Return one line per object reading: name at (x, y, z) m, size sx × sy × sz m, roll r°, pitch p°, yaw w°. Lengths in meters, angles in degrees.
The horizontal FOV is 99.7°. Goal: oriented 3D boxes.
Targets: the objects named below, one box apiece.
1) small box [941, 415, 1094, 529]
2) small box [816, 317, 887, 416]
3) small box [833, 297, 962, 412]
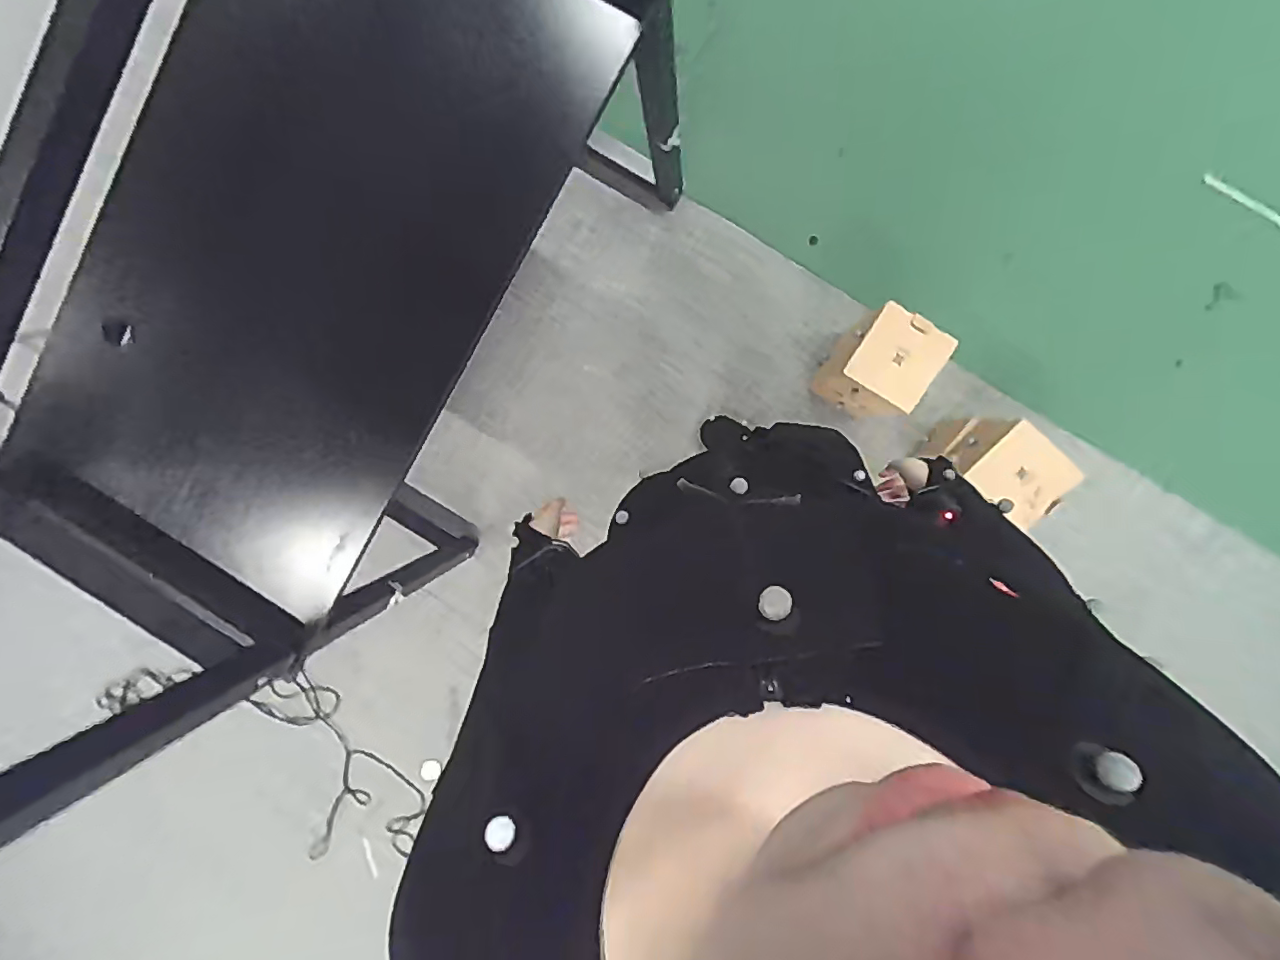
small box at (0.795, -0.022, 1.164) m, size 0.179 × 0.176 × 0.168 m, roll 43°, pitch 100°, yaw 0°
small box at (0.554, -0.269, 1.331) m, size 0.168 × 0.176 × 0.179 m, roll 30°, pitch 98°, yaw 2°
small box at (0.541, -0.260, 1.169) m, size 0.168 × 0.176 × 0.179 m, roll 31°, pitch 97°, yaw 3°
